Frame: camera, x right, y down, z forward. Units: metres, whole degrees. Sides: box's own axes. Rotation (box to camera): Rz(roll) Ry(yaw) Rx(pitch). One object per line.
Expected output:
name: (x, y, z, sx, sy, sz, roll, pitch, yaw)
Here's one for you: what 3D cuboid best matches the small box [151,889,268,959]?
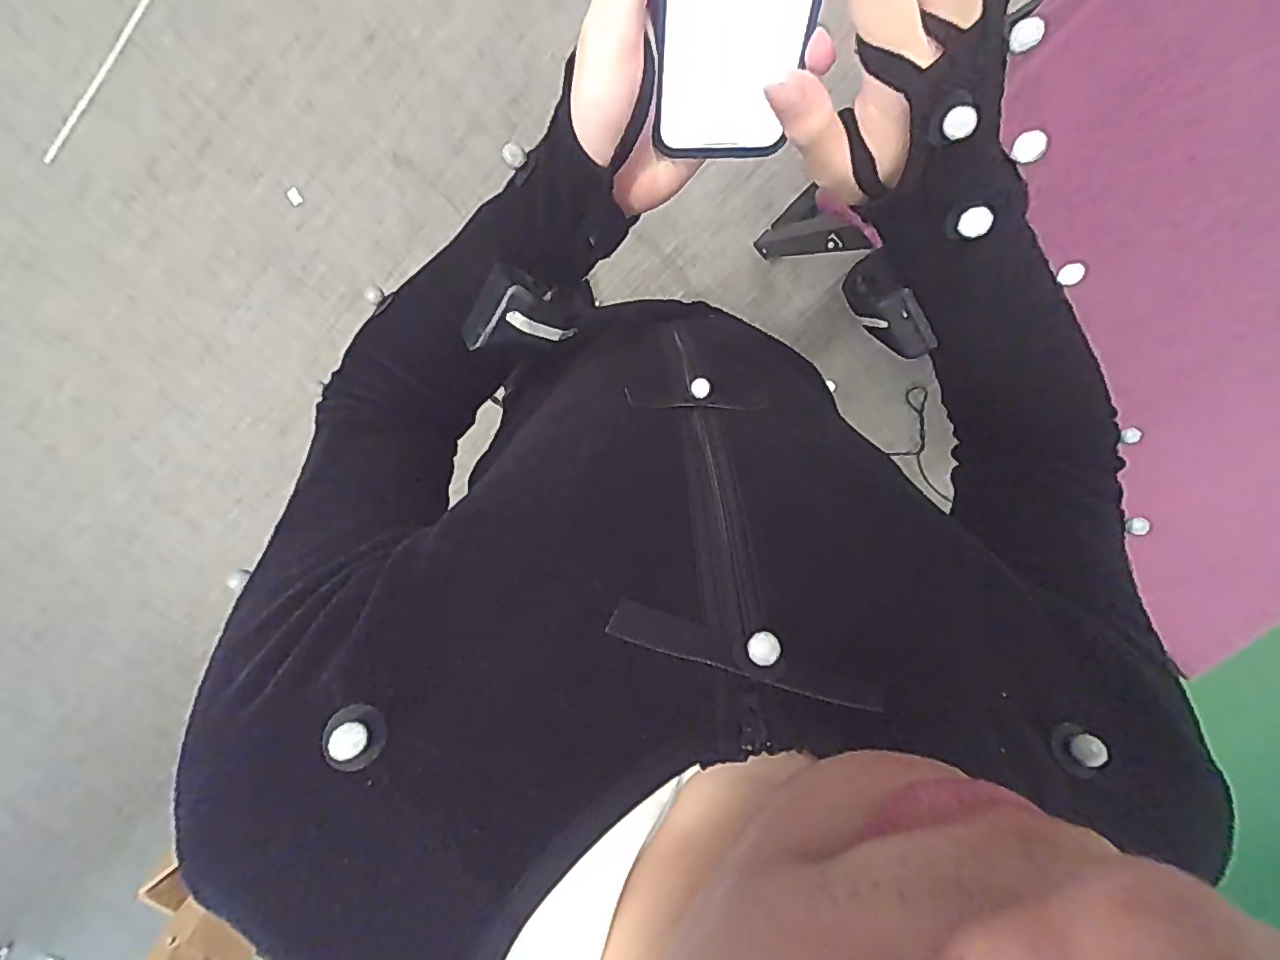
small box: (-1.042, 1.134, 1.296, 0.179, 0.176, 0.168, -36, 108, 9)
